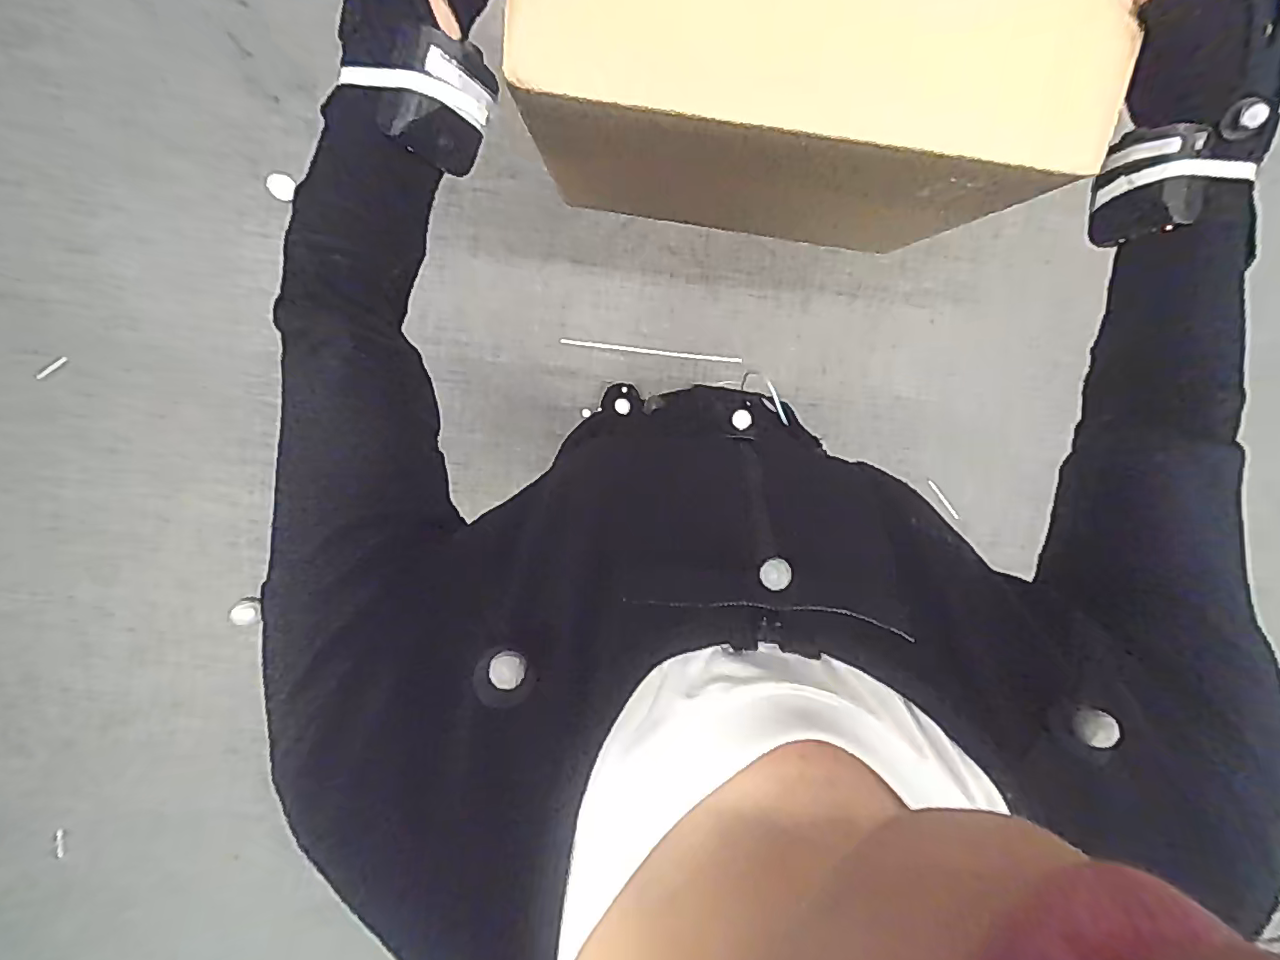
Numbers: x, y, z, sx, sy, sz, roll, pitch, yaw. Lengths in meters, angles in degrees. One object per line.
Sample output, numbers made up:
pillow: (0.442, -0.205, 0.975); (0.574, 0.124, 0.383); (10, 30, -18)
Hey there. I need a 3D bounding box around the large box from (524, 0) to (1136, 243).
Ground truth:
large box: (0.129, -0.423, 0.477); (0.408, 0.320, 0.320); (7, 104, -3)
